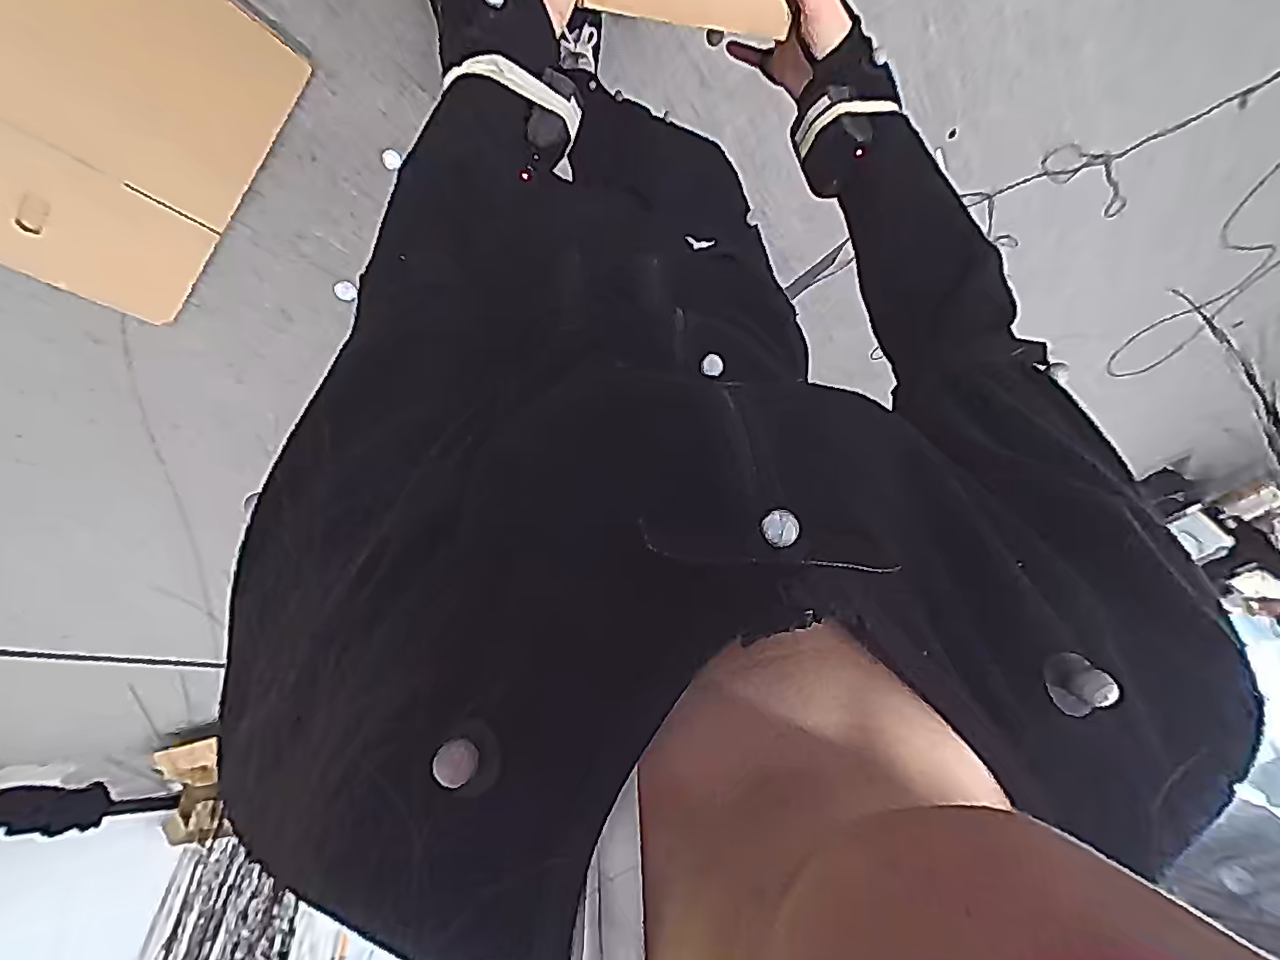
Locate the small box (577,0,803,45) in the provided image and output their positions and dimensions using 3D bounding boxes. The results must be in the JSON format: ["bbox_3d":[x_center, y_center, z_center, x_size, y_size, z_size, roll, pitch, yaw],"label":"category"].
[{"bbox_3d":[0.033,-0.458,0.399,0.179,0.176,0.168,-6,143,-18],"label":"small box"}]
